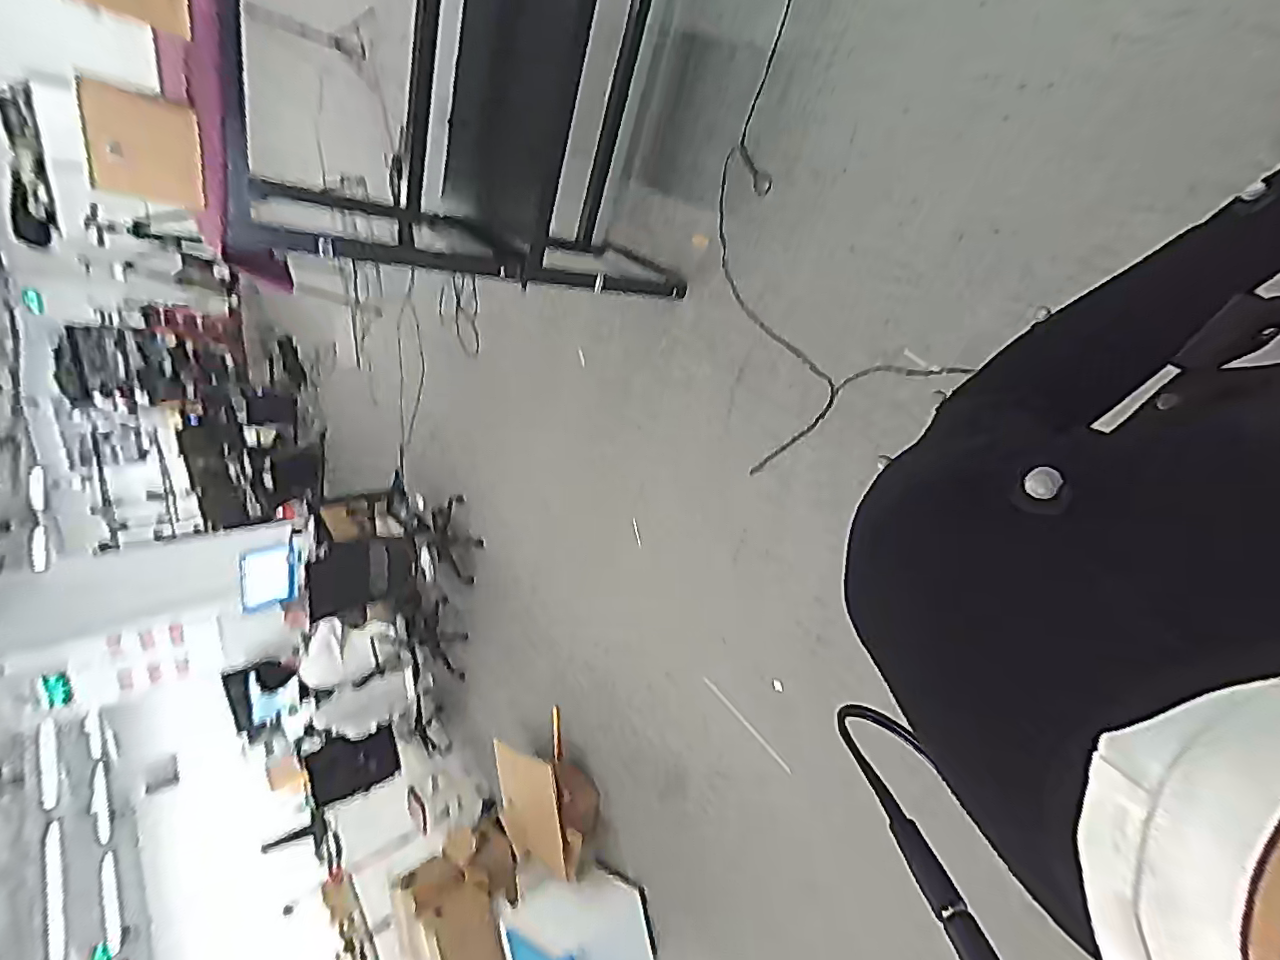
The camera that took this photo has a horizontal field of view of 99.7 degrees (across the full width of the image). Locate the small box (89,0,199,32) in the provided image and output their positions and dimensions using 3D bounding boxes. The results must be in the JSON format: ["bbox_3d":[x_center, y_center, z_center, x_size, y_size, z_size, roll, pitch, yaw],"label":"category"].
[{"bbox_3d":[-0.871,-0.899,0.920,0.179,0.176,0.168,44,127,34],"label":"small box"}]

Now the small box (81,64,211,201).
[{"bbox_3d":[-0.962,-0.672,1.061,0.168,0.176,0.179,43,126,34],"label":"small box"}]
